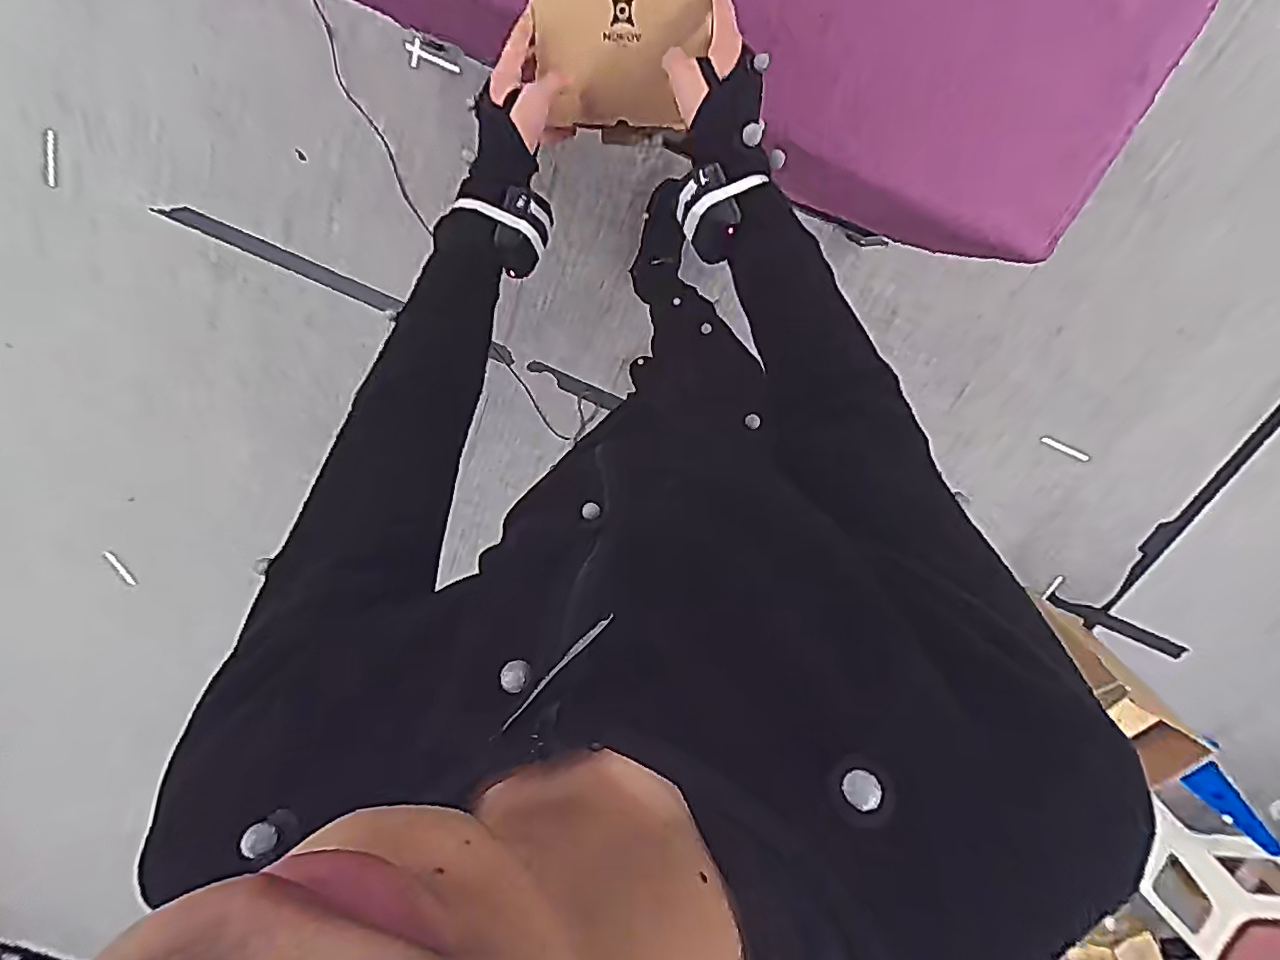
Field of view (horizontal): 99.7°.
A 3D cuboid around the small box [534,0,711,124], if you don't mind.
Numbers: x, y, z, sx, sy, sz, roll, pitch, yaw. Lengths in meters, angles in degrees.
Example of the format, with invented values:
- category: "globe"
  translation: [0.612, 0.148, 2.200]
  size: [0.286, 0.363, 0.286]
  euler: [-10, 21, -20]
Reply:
- category: "small box"
  translation: [-0.013, -0.479, 0.558]
  size: [0.168, 0.176, 0.179]
  euler: [3, 124, -1]
